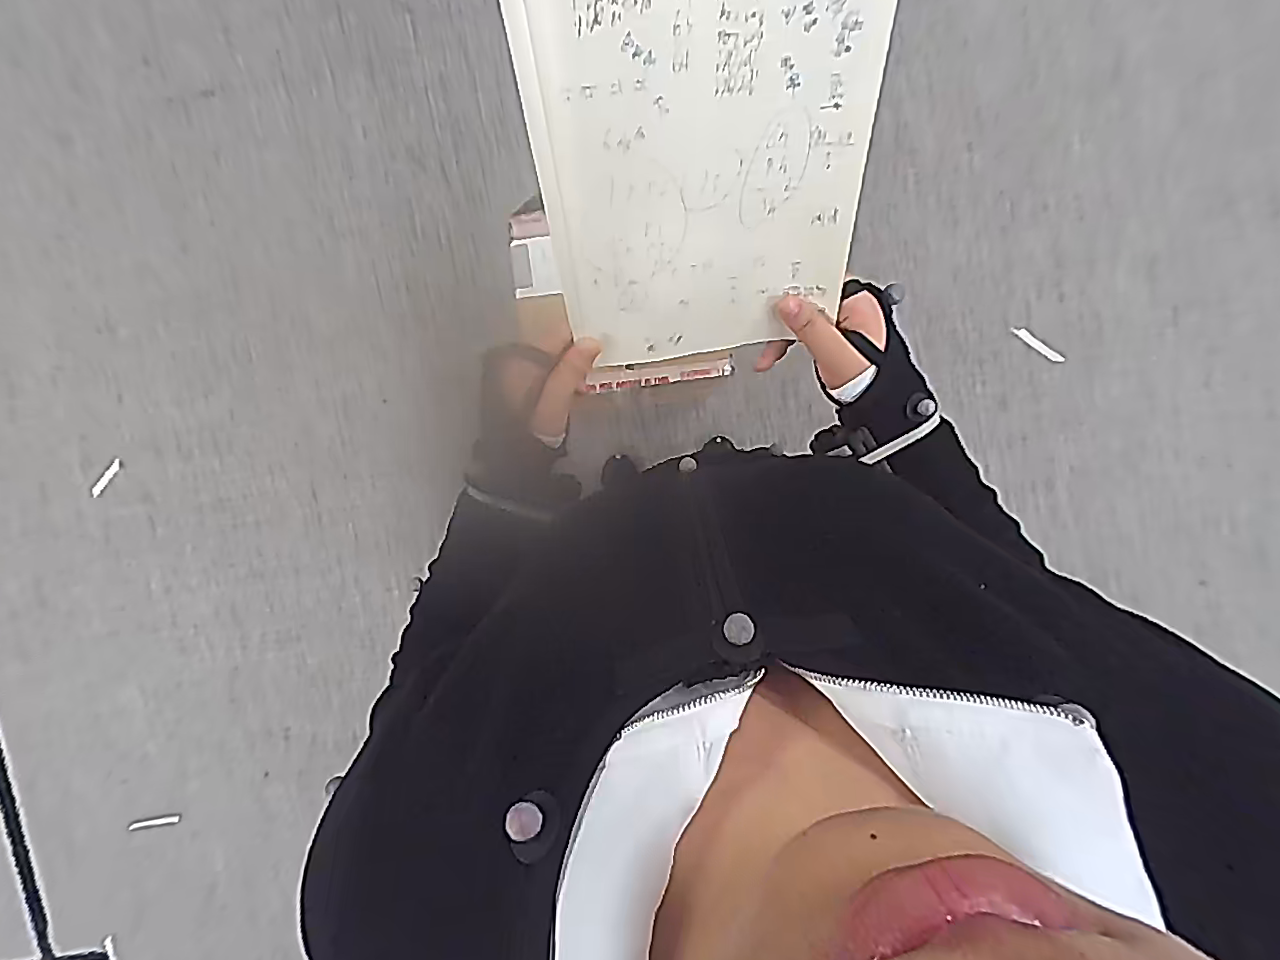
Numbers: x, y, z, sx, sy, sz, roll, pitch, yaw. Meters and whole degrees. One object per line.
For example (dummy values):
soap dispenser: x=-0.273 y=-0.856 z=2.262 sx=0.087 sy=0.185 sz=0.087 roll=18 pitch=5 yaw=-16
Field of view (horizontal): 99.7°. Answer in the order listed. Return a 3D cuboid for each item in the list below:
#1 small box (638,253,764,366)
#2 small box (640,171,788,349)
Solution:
small box: x=0.096 y=-0.302 z=0.931 sx=0.179 sy=0.176 sz=0.168 roll=-13 pitch=94 yaw=1
small box: x=0.095 y=-0.299 z=0.767 sx=0.168 sy=0.176 sz=0.179 roll=-10 pitch=94 yaw=-1
